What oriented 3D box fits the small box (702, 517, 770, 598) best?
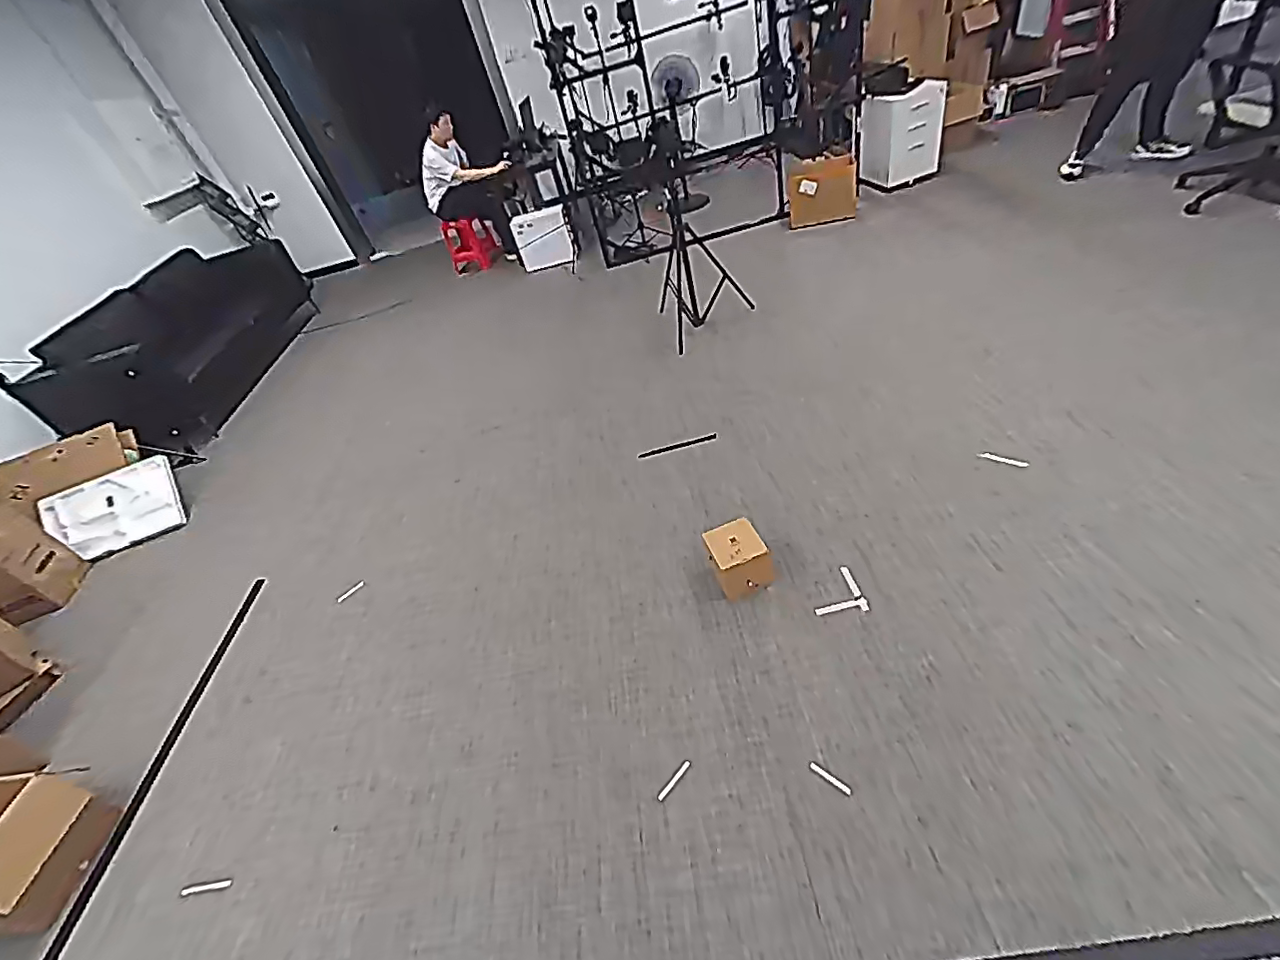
[{"bbox_3d":[0.323,0.261,1.815,0.168,0.176,0.179,-22,41,-4],"label":"small box"}]
